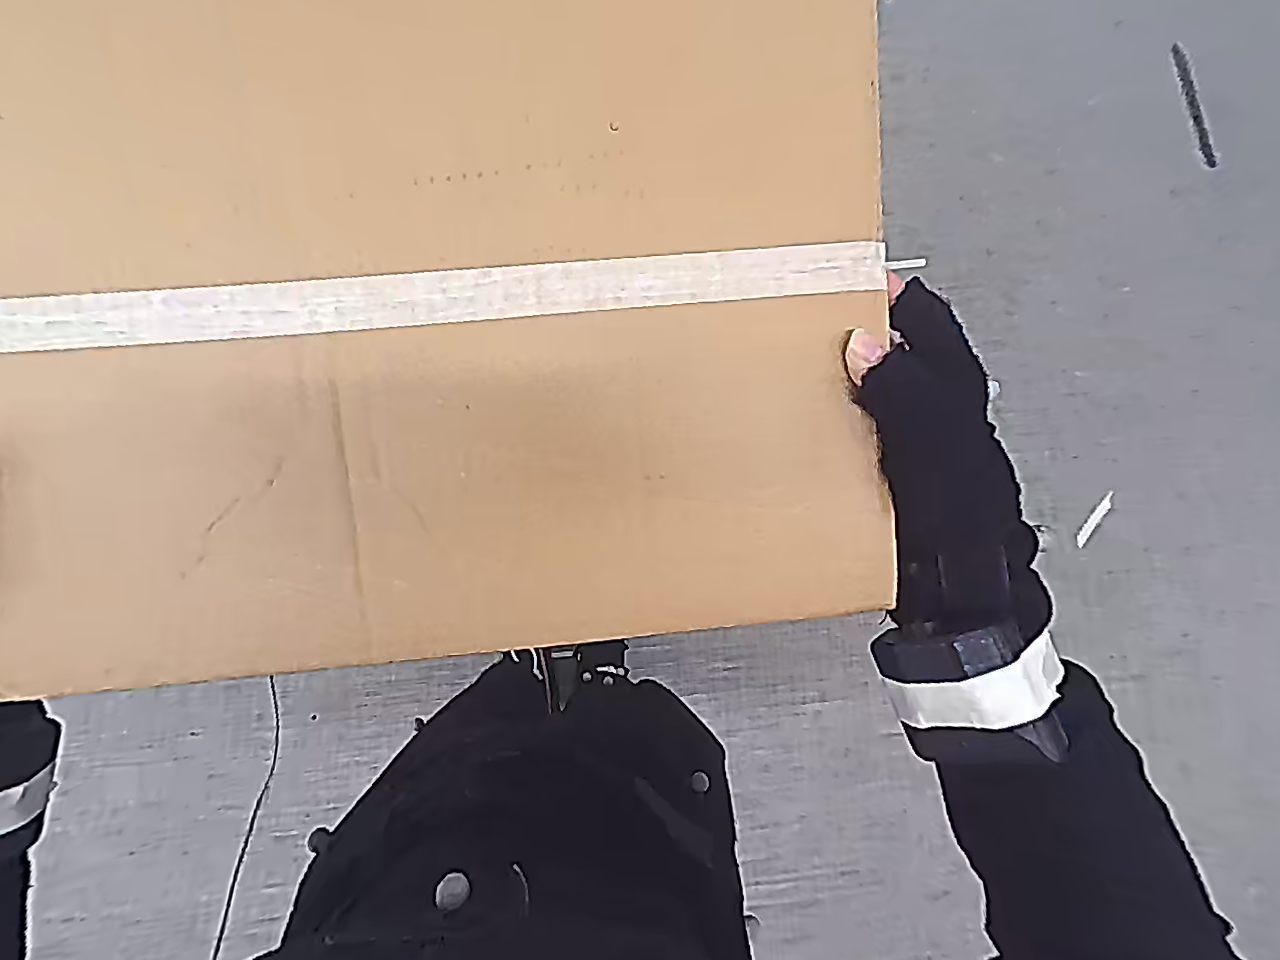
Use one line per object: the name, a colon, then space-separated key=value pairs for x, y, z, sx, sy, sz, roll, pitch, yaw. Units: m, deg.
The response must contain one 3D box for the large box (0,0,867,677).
large box: x=-0.103 y=-0.094 z=0.389 sx=0.408 sy=0.320 sz=0.320 roll=-4 pitch=95 yaw=-4
